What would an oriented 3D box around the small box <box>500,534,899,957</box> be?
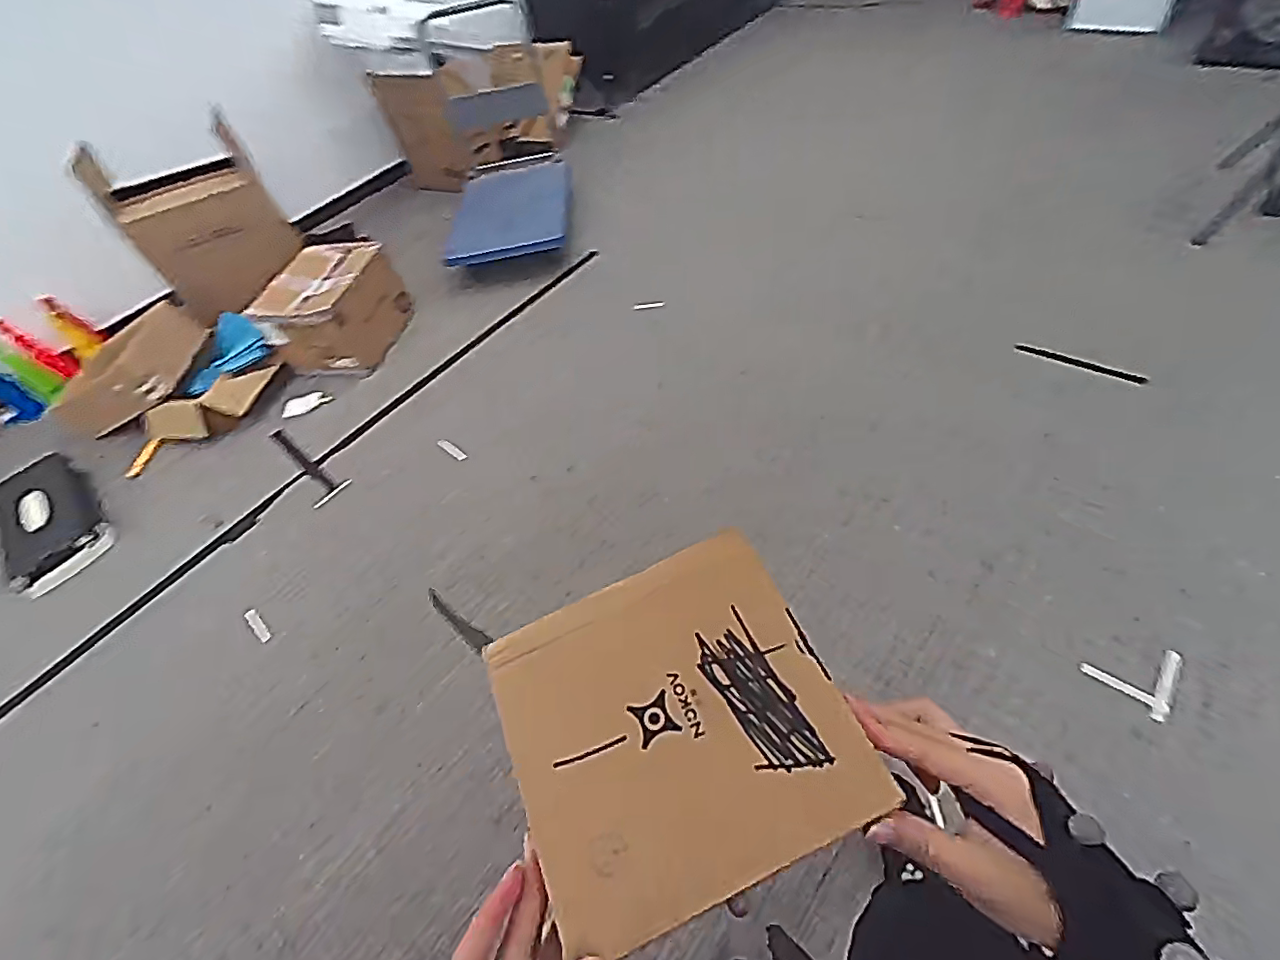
[{"bbox_3d":[0.032,0.169,0.368,0.179,0.176,0.168,-24,58,-5],"label":"small box"}]
